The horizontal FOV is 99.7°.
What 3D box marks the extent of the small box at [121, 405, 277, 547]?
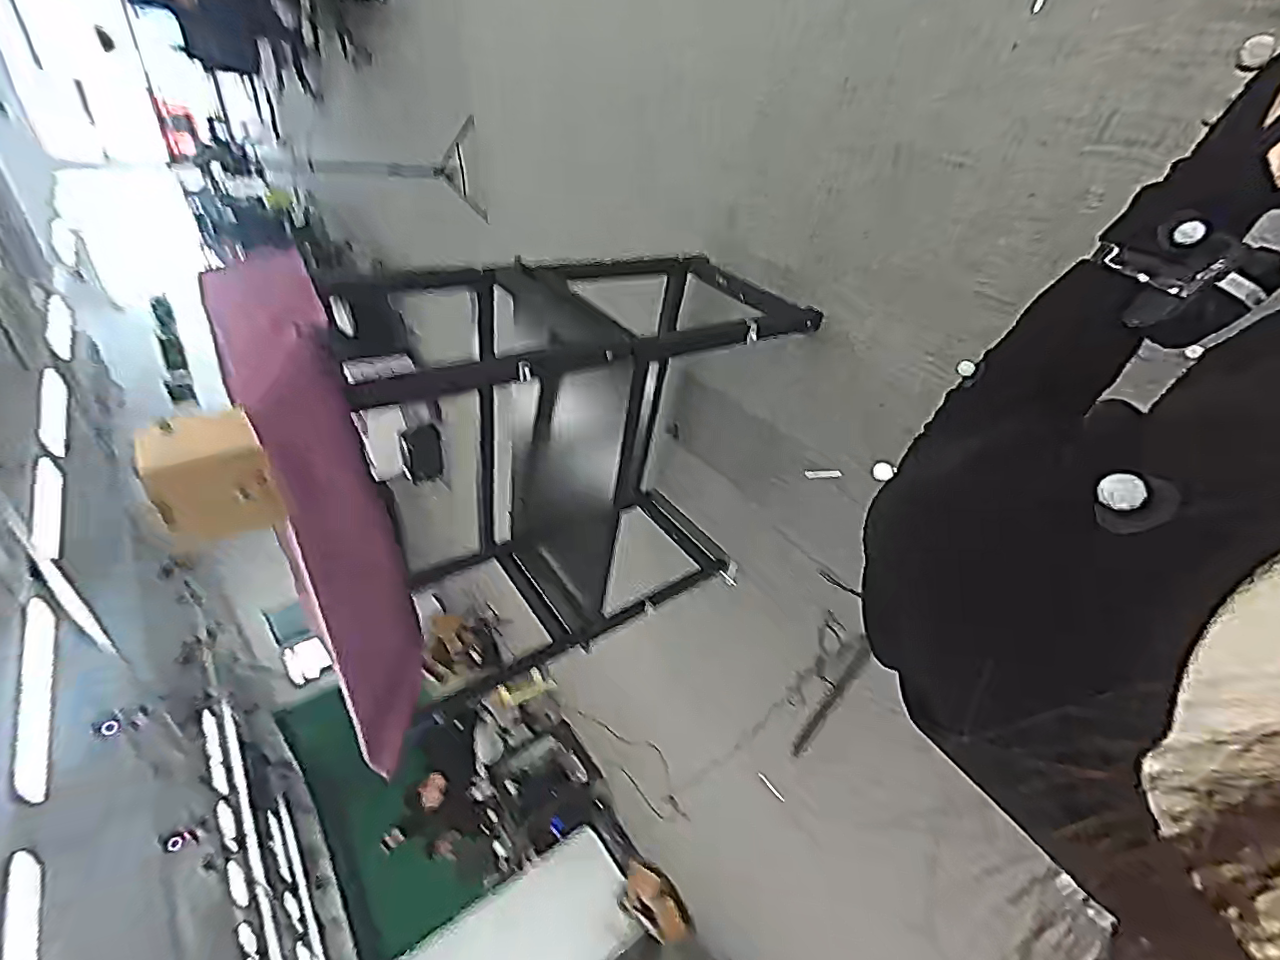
[{"bbox_3d":[-0.752,-0.018,0.935,0.179,0.176,0.168,39,136,39],"label":"small box"}]
